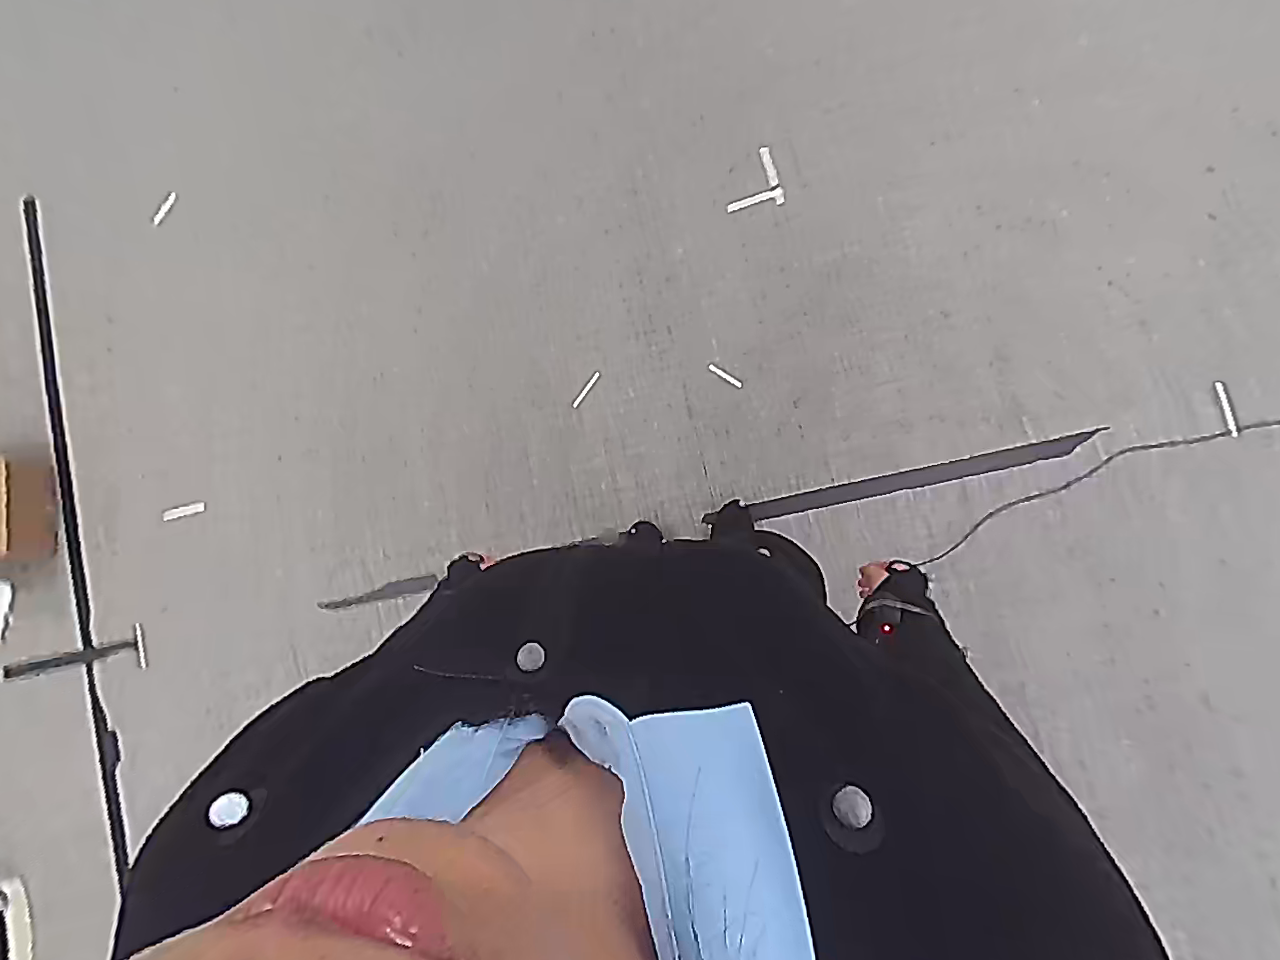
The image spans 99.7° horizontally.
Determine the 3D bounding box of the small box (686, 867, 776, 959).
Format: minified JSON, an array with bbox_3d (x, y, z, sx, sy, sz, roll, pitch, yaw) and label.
[{"bbox_3d":[0.198,0.977,1.156,0.168,0.176,0.179,-11,85,6],"label":"small box"}]
